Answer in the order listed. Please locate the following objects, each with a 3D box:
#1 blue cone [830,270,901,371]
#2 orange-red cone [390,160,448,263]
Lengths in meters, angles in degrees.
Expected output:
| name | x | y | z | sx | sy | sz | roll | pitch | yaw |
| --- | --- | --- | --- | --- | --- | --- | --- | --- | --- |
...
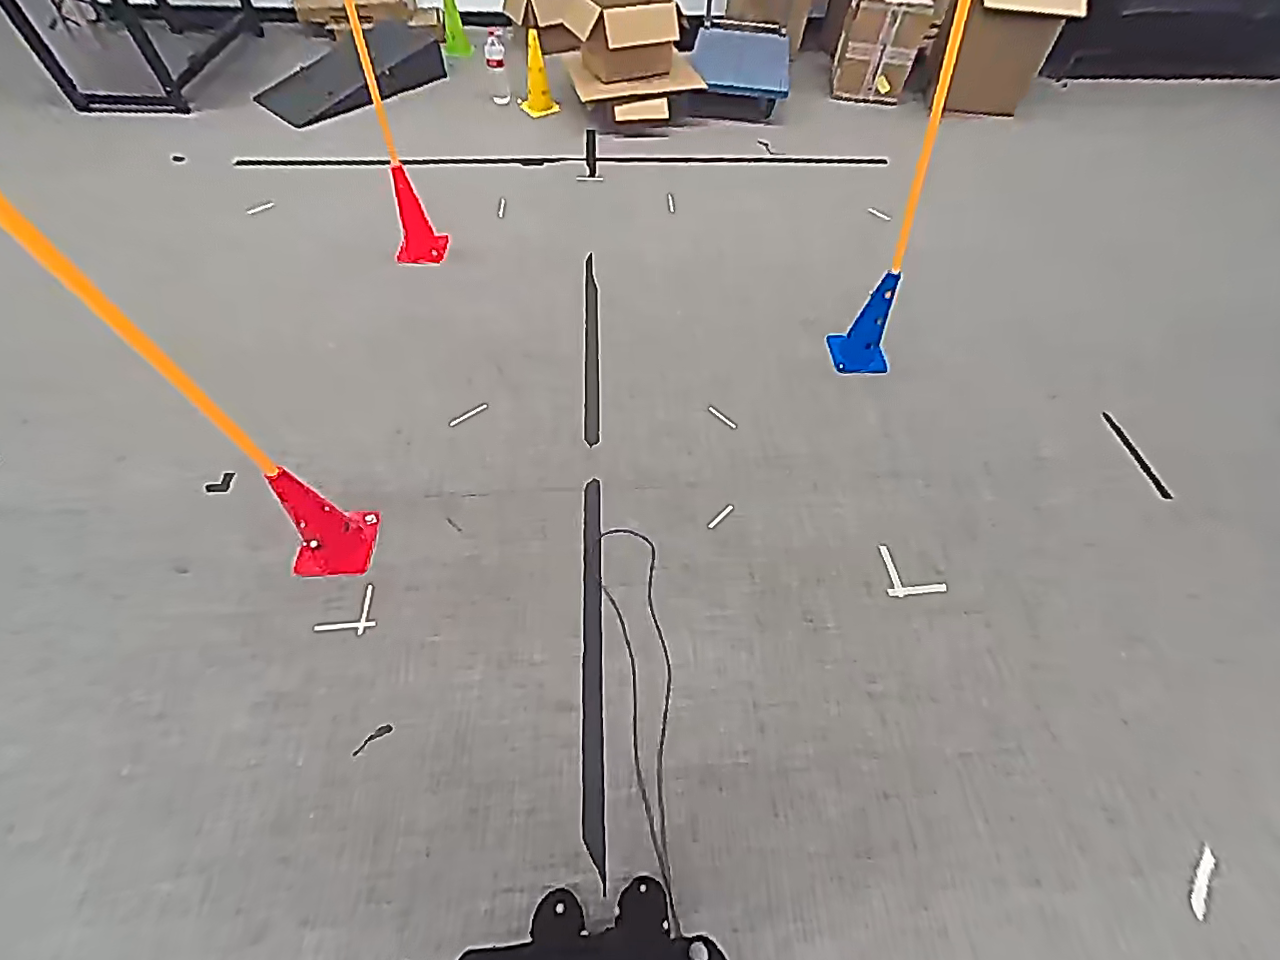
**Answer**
| name | x | y | z | sx | sy | sz | roll | pitch | yaw |
| --- | --- | --- | --- | --- | --- | --- | --- | --- | --- |
| blue cone | 0.827 | -0.575 | 1.912 | 0.193 | 0.380 | 0.192 | 1 | 56 | -1 |
| orange-red cone | -0.927 | -1.091 | 2.170 | 0.198 | 0.360 | 0.199 | 1 | 55 | -2 |
